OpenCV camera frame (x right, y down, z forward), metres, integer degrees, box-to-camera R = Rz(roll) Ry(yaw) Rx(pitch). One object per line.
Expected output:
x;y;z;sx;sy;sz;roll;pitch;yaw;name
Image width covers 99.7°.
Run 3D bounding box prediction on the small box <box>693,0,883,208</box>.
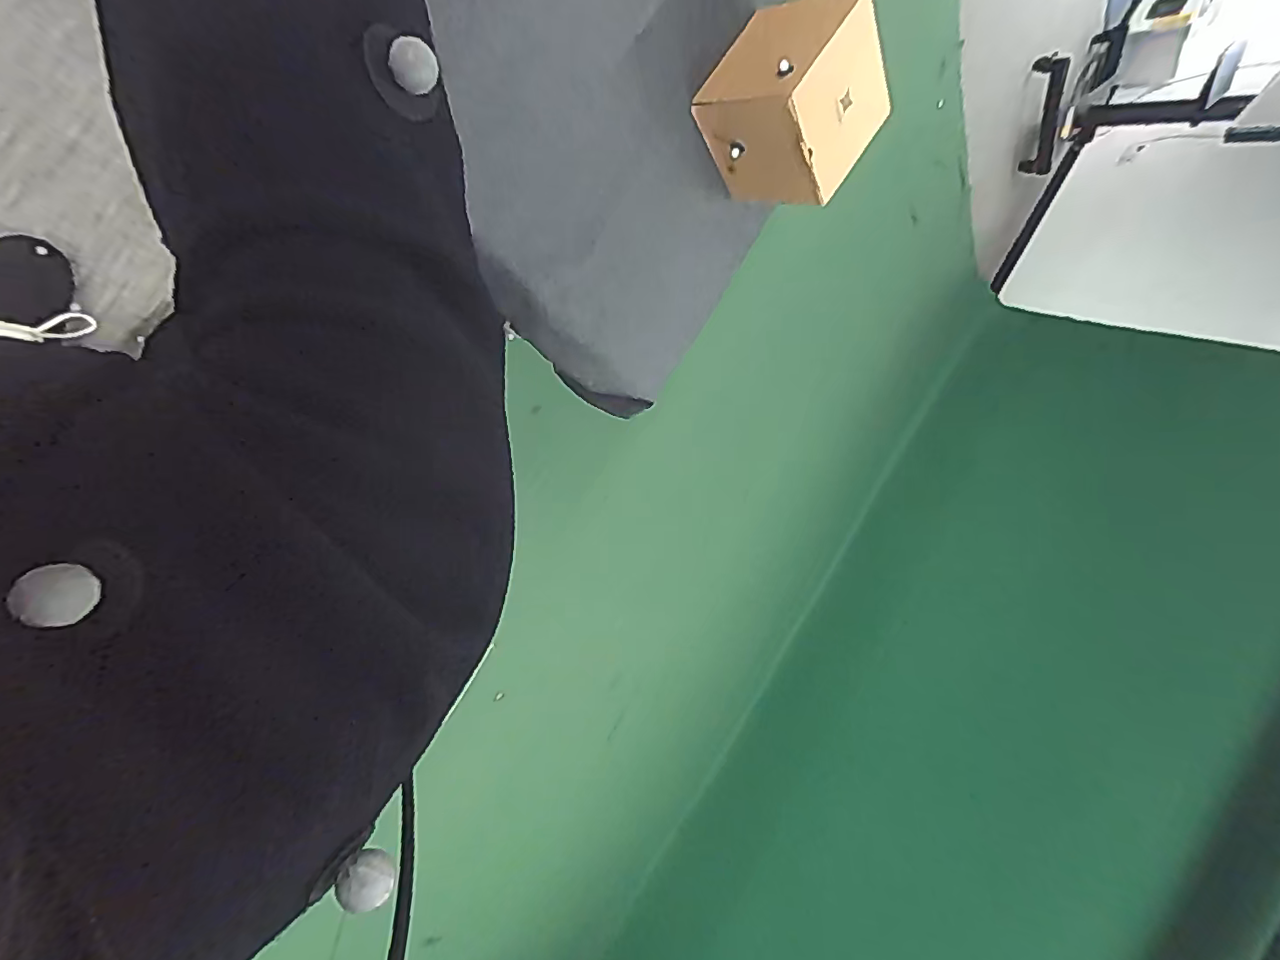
0.205;-0.516;0.750;0.179;0.176;0.168;-55;140;-3;small box
